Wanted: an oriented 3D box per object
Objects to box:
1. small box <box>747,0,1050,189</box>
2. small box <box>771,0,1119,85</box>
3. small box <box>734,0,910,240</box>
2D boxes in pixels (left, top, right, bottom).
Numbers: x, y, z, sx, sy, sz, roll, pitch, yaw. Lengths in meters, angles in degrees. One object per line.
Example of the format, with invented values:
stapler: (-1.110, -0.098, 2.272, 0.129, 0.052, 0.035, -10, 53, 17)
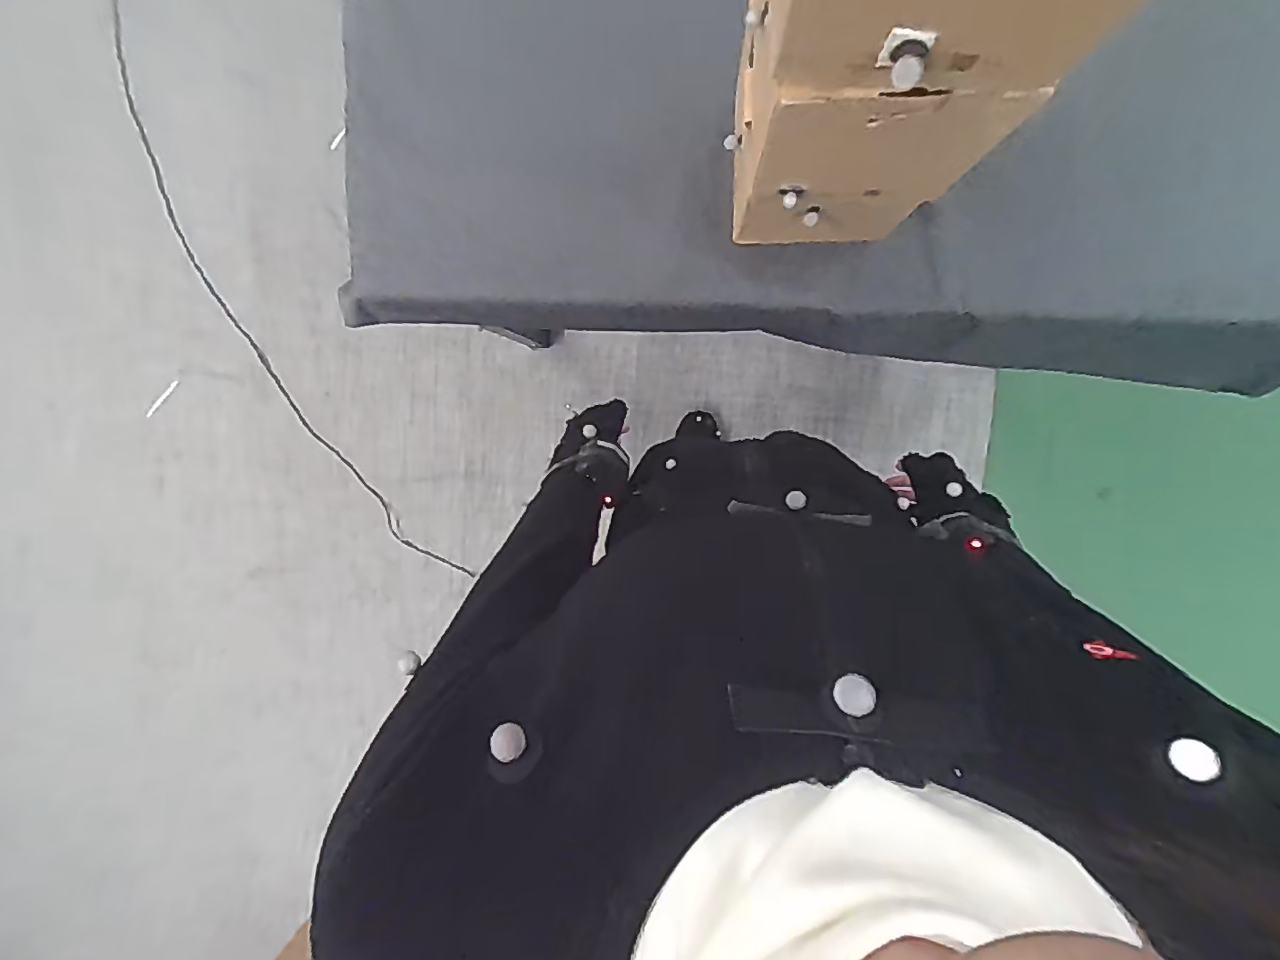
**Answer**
small box: (0.171, -0.333, 0.397, 0.168, 0.176, 0.179, 1, 96, 5)
small box: (0.155, -0.317, 0.237, 0.168, 0.176, 0.179, 4, 98, 6)
small box: (0.191, -0.363, 0.560, 0.179, 0.176, 0.168, -3, 95, 5)
